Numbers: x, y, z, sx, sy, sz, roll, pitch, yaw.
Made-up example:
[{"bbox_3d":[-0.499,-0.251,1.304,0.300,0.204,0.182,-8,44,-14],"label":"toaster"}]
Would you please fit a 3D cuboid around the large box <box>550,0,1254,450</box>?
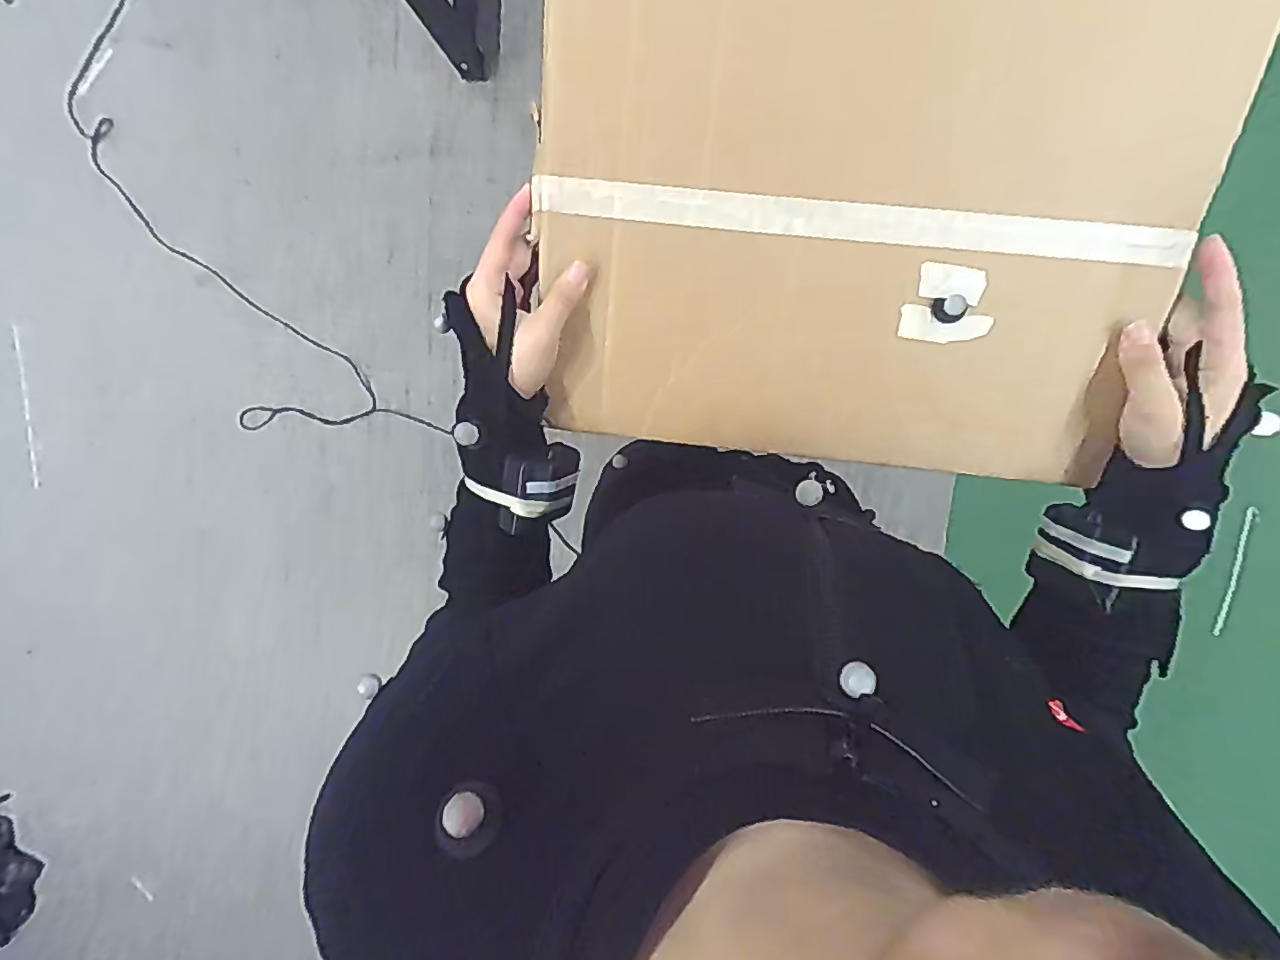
[{"bbox_3d":[0.146,-0.228,0.487,0.408,0.320,0.320,6,110,1],"label":"large box"}]
